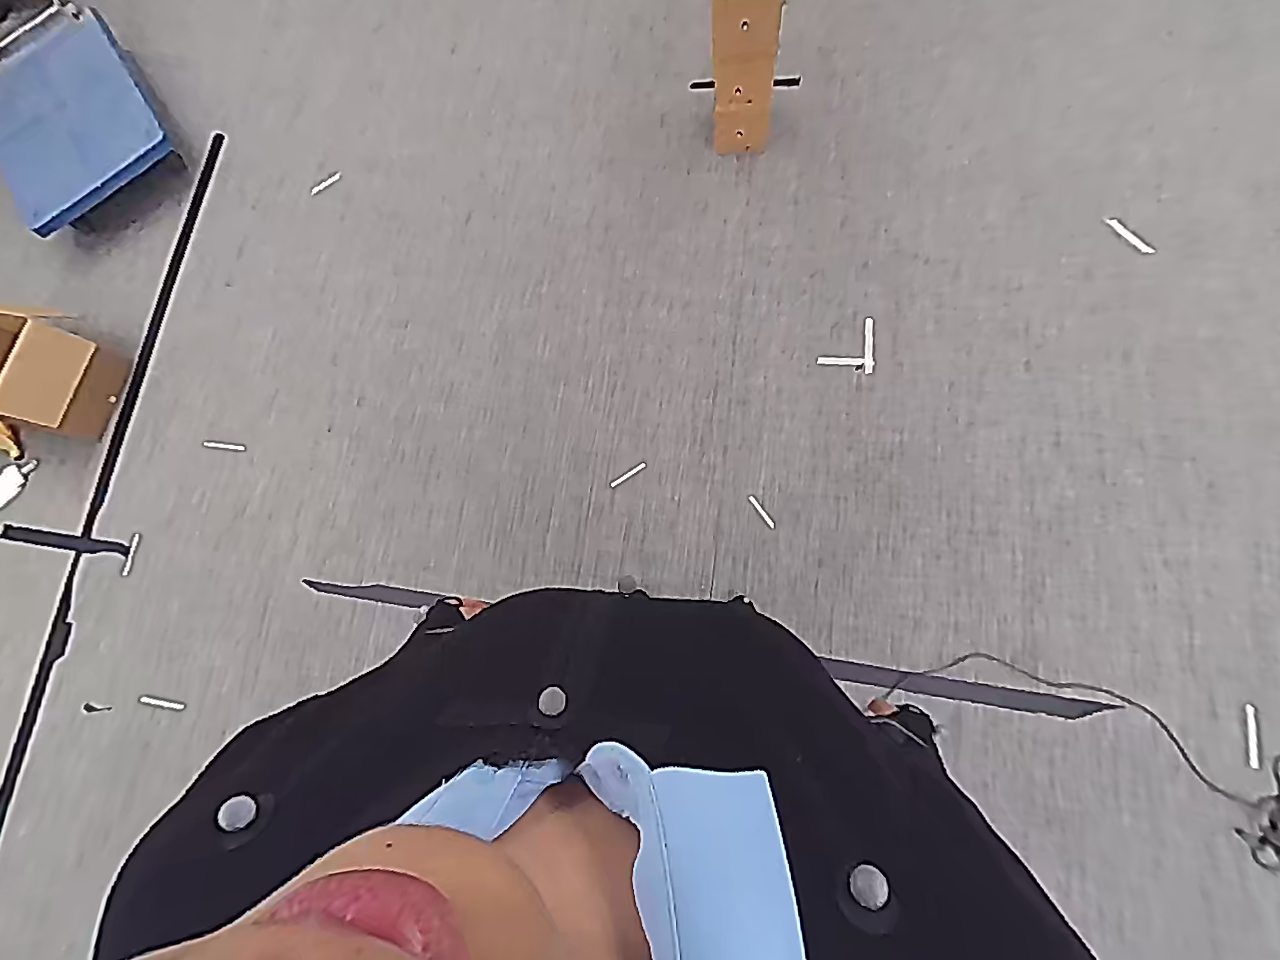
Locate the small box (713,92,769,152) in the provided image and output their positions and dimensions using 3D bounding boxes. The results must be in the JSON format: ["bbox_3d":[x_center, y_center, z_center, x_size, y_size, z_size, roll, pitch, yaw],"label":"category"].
[{"bbox_3d":[0.321,-1.168,1.706,0.168,0.176,0.179,4,78,8],"label":"small box"}]

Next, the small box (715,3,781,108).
[{"bbox_3d":[0.304,-1.211,1.549,0.168,0.176,0.179,6,79,9],"label":"small box"}]
